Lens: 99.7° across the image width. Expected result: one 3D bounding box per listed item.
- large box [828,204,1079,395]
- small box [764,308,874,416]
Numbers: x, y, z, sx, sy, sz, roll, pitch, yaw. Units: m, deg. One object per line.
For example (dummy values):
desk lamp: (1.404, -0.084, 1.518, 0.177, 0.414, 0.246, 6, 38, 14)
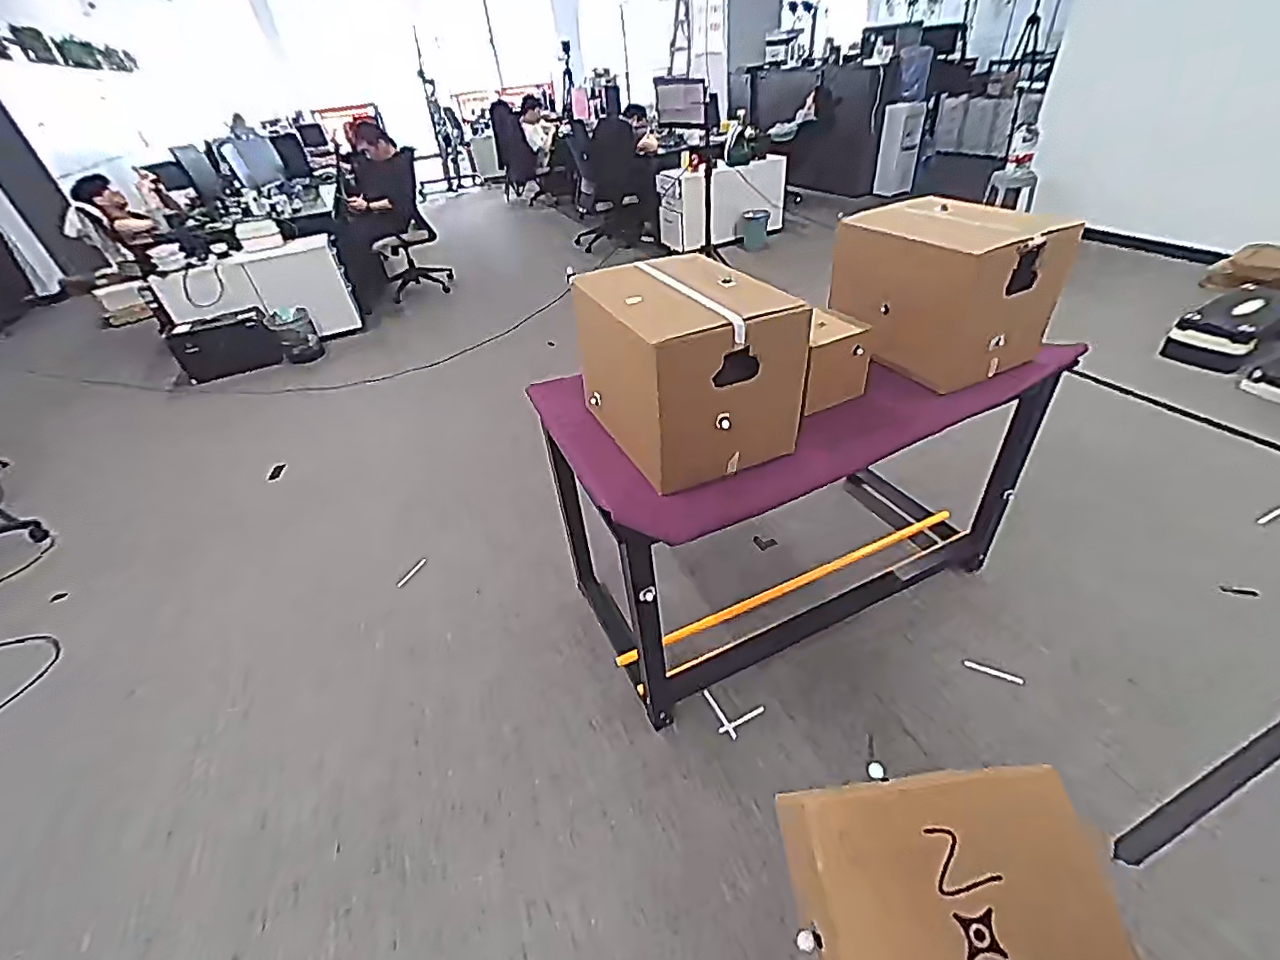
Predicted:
large box: (0.717, -0.454, 1.318, 0.320, 0.320, 0.408, -20, 38, -17)
small box: (0.401, -0.273, 1.246, 0.179, 0.176, 0.168, -21, 39, -17)
